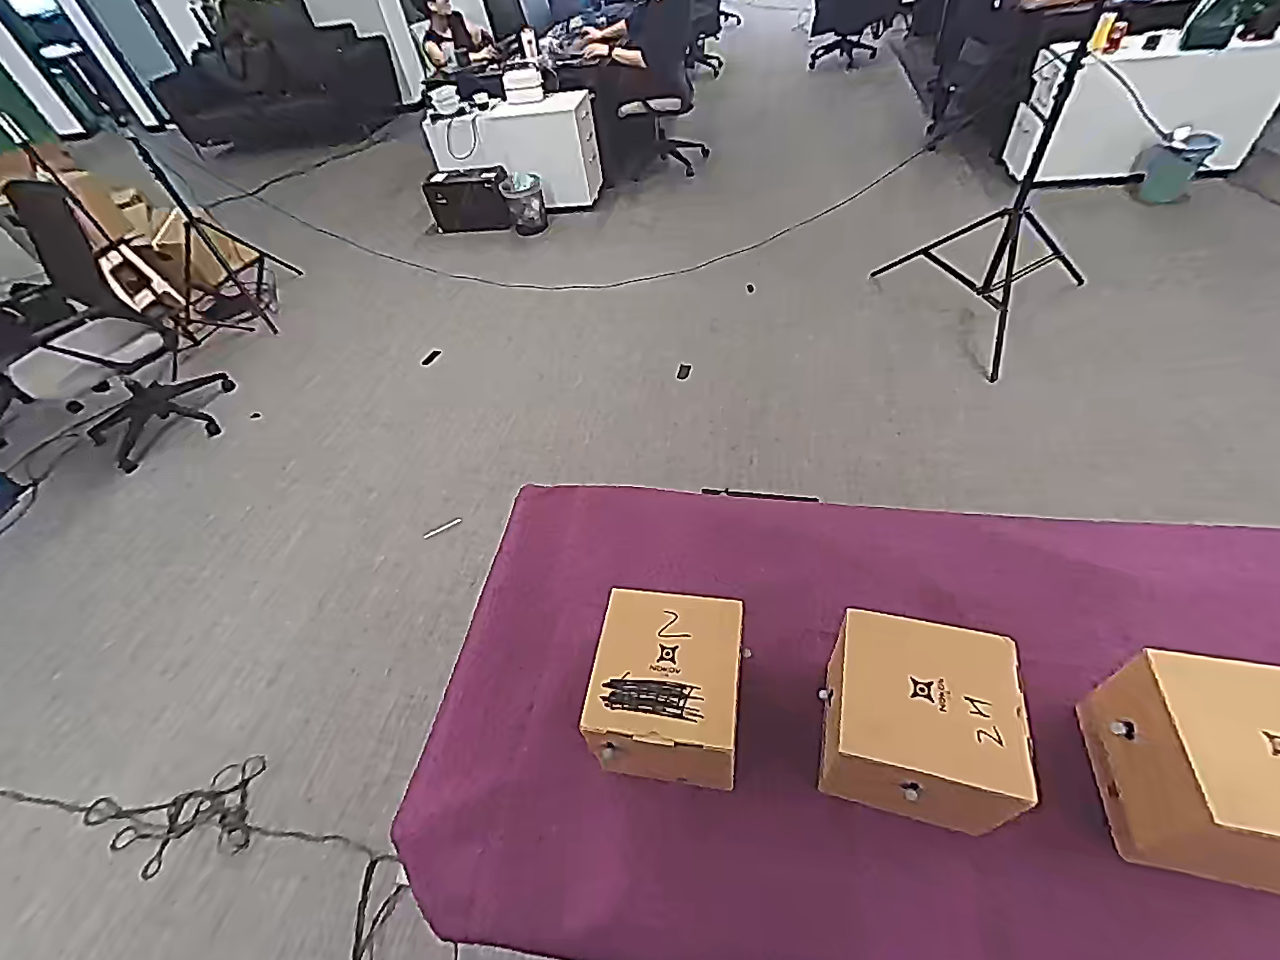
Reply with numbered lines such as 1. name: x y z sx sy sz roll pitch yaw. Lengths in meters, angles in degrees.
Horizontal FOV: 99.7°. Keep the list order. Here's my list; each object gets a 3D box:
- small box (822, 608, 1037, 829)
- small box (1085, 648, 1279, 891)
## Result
1. small box: 0.311 0.274 0.620 0.179 0.176 0.168 8 50 16
2. small box: 0.602 0.297 0.553 0.179 0.176 0.168 5 48 13
